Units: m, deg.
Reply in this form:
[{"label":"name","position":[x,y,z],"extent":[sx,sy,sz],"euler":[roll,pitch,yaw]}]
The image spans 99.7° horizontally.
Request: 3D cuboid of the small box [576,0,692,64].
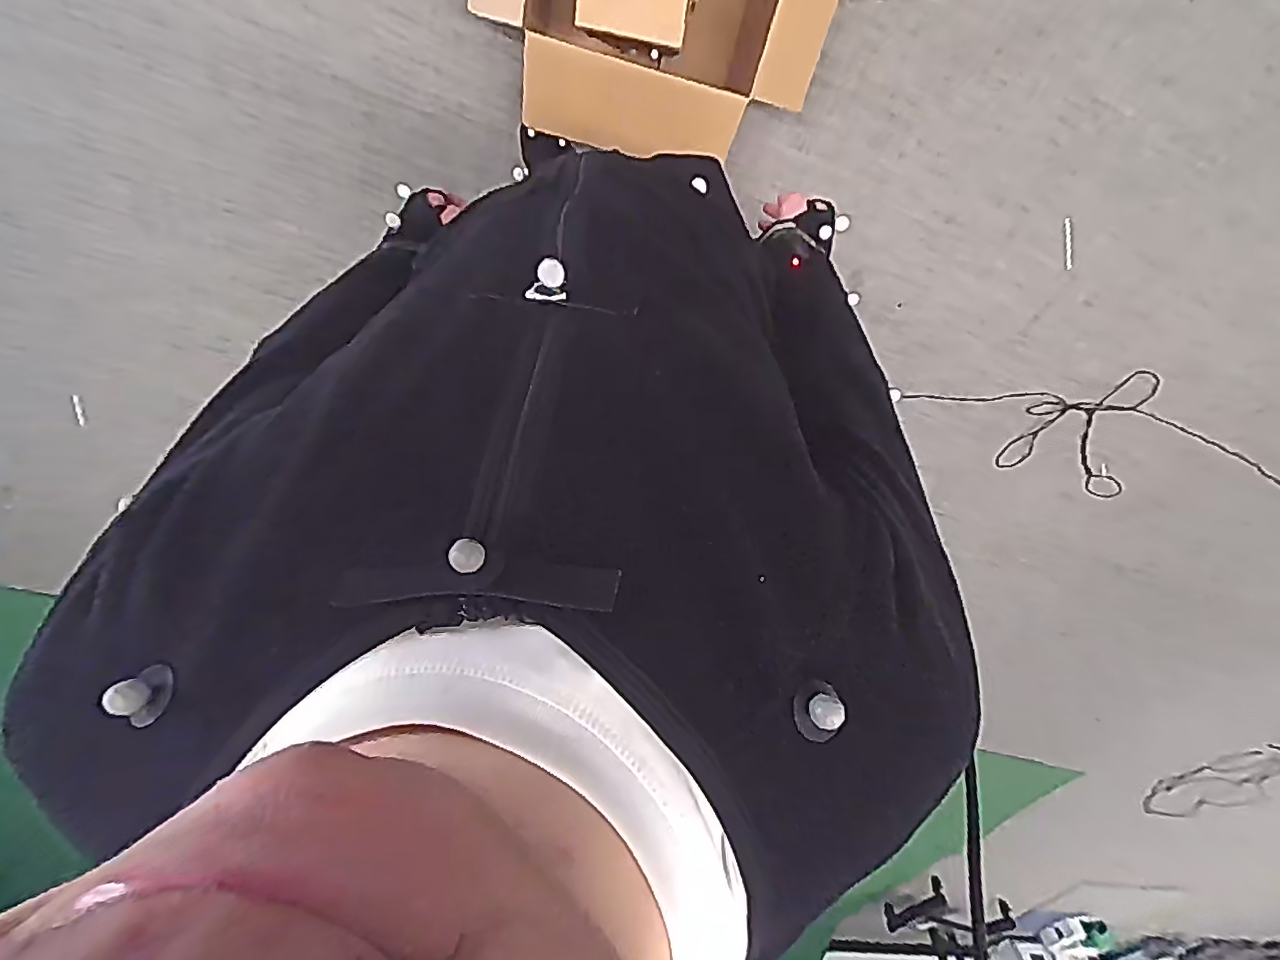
[{"label":"small box","position":[0.000,-0.810,0.893],"extent":[0.179,0.176,0.168],"euler":[10,122,-3]}]
